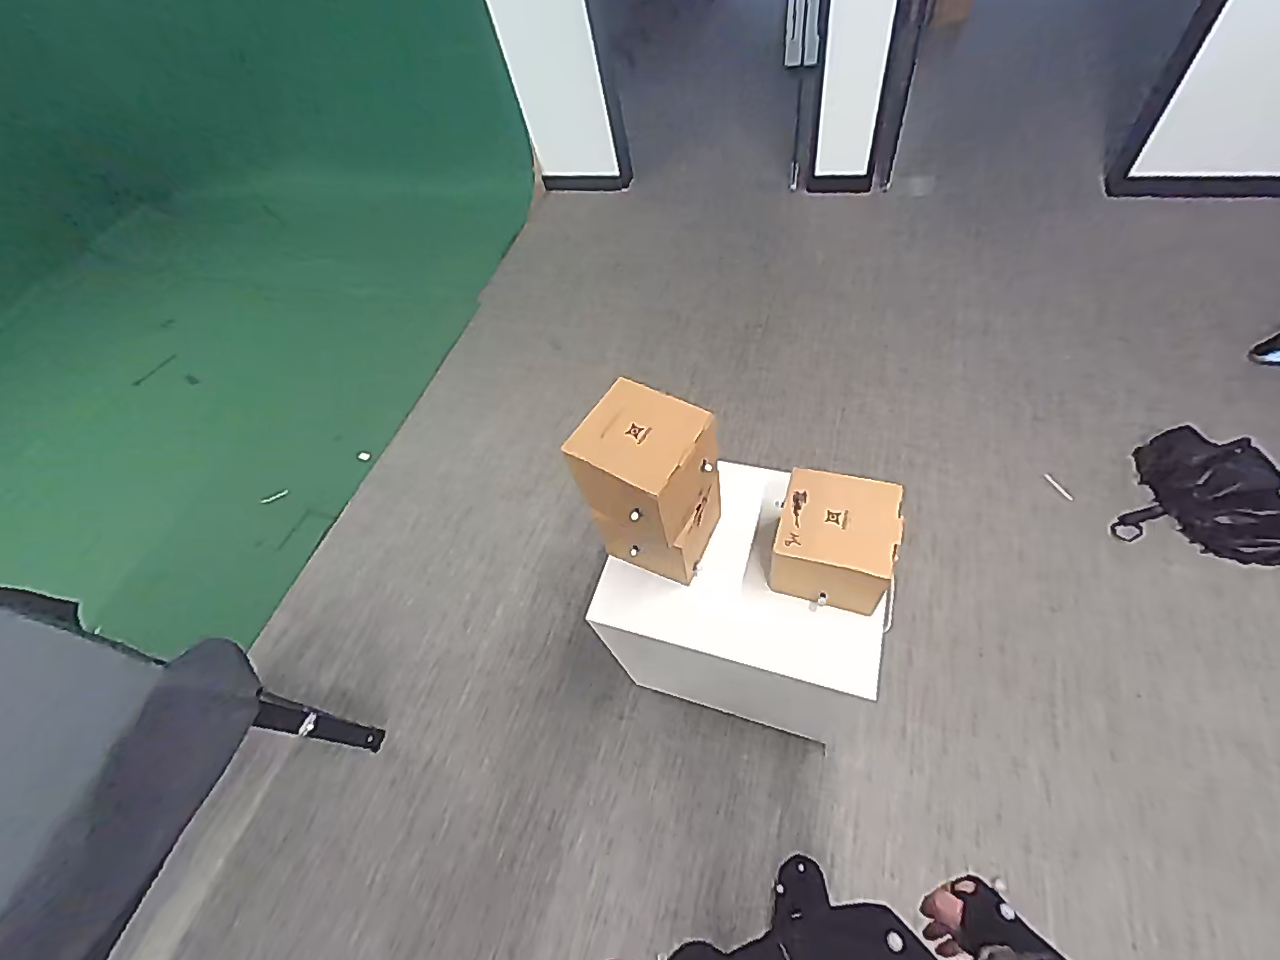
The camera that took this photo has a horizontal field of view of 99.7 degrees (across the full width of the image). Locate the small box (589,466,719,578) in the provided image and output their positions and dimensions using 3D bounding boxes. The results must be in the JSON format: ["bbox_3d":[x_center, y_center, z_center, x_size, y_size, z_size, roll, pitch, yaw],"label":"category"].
[{"bbox_3d":[0.035,0.058,0.986,0.179,0.176,0.168,19,61,21],"label":"small box"}]

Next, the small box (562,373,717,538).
[{"bbox_3d":[0.009,-0.032,0.854,0.179,0.176,0.168,25,63,24],"label":"small box"}]

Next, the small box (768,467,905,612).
[{"bbox_3d":[0.322,0.105,0.908,0.179,0.176,0.168,13,60,17],"label":"small box"}]
